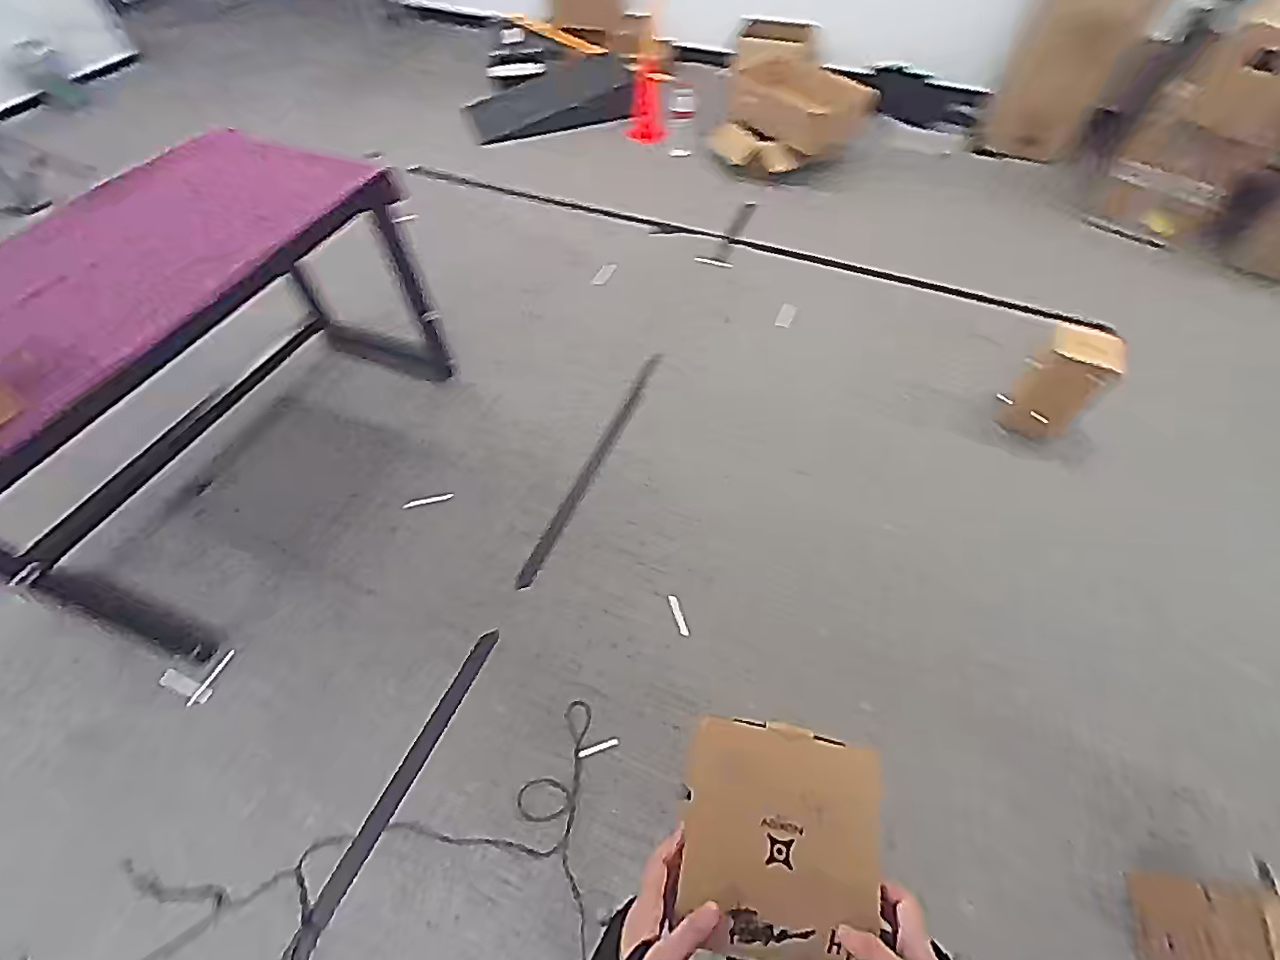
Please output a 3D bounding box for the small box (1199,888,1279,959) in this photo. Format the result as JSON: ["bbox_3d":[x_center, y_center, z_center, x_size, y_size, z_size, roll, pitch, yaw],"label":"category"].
[{"bbox_3d":[1.108,0.818,0.912,0.179,0.176,0.168,17,58,11],"label":"small box"}]

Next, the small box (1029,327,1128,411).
[{"bbox_3d":[1.369,-0.341,1.691,0.179,0.176,0.168,23,58,15],"label":"small box"}]

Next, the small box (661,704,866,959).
[{"bbox_3d":[0.114,0.341,0.543,0.168,0.176,0.179,9,63,6],"label":"small box"}]

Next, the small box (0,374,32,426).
[{"bbox_3d":[-1.186,-0.157,0.876,0.179,0.176,0.168,22,58,14],"label":"small box"}]

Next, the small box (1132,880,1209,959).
[{"bbox_3d":[1.110,0.906,1.052,0.179,0.176,0.168,17,58,10],"label":"small box"}]
